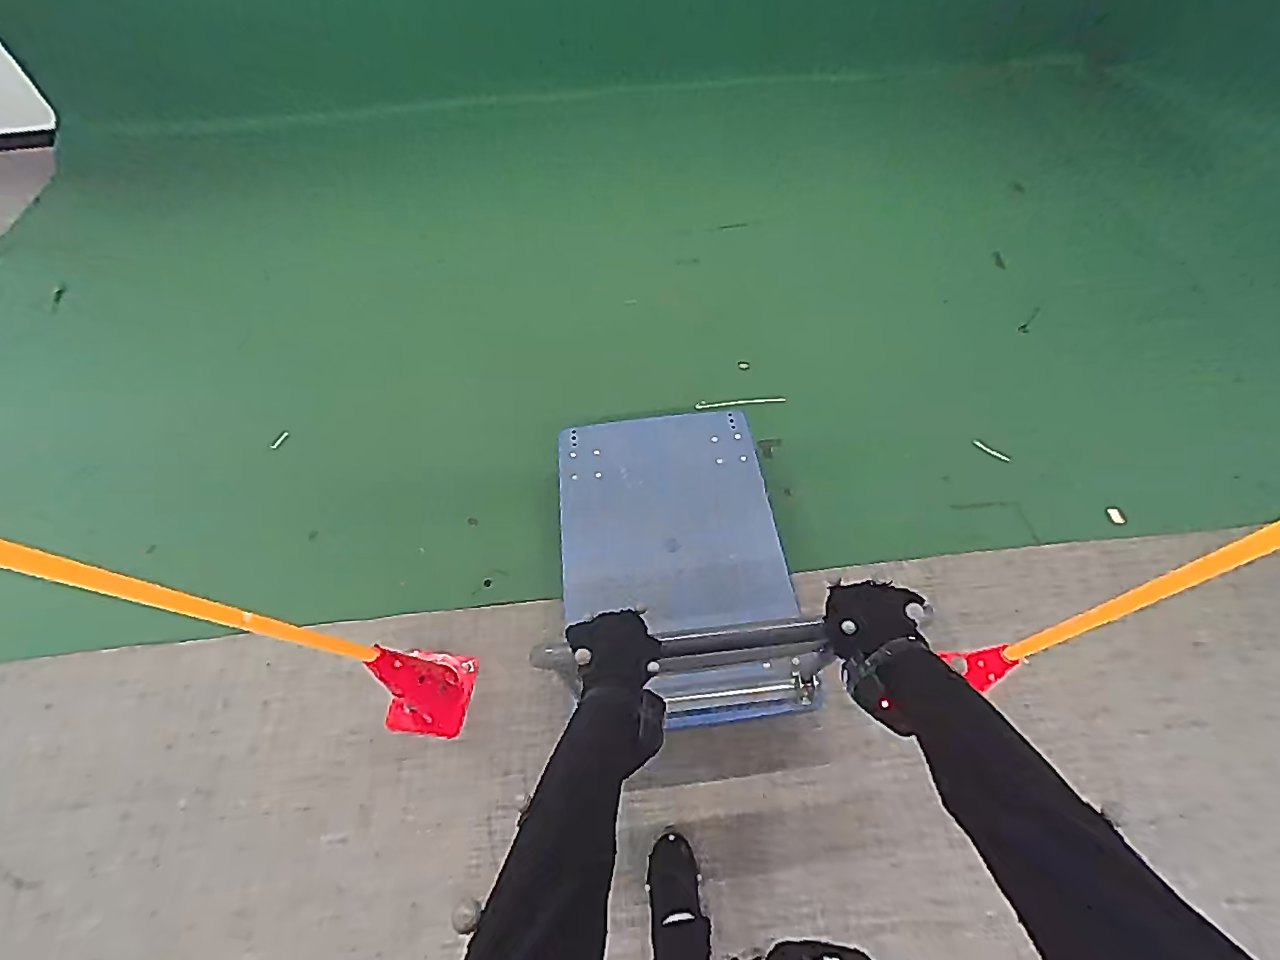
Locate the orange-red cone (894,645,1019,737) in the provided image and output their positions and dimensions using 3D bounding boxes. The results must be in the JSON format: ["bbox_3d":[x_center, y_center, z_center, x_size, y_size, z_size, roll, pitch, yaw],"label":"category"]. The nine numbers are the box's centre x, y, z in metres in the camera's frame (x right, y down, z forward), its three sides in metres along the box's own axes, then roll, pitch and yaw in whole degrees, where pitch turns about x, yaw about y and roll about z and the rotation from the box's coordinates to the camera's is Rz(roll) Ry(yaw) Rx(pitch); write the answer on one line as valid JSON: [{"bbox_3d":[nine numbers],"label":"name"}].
[{"bbox_3d":[0.745,0.443,1.223,0.198,0.360,0.199,3,58,5],"label":"orange-red cone"}]
